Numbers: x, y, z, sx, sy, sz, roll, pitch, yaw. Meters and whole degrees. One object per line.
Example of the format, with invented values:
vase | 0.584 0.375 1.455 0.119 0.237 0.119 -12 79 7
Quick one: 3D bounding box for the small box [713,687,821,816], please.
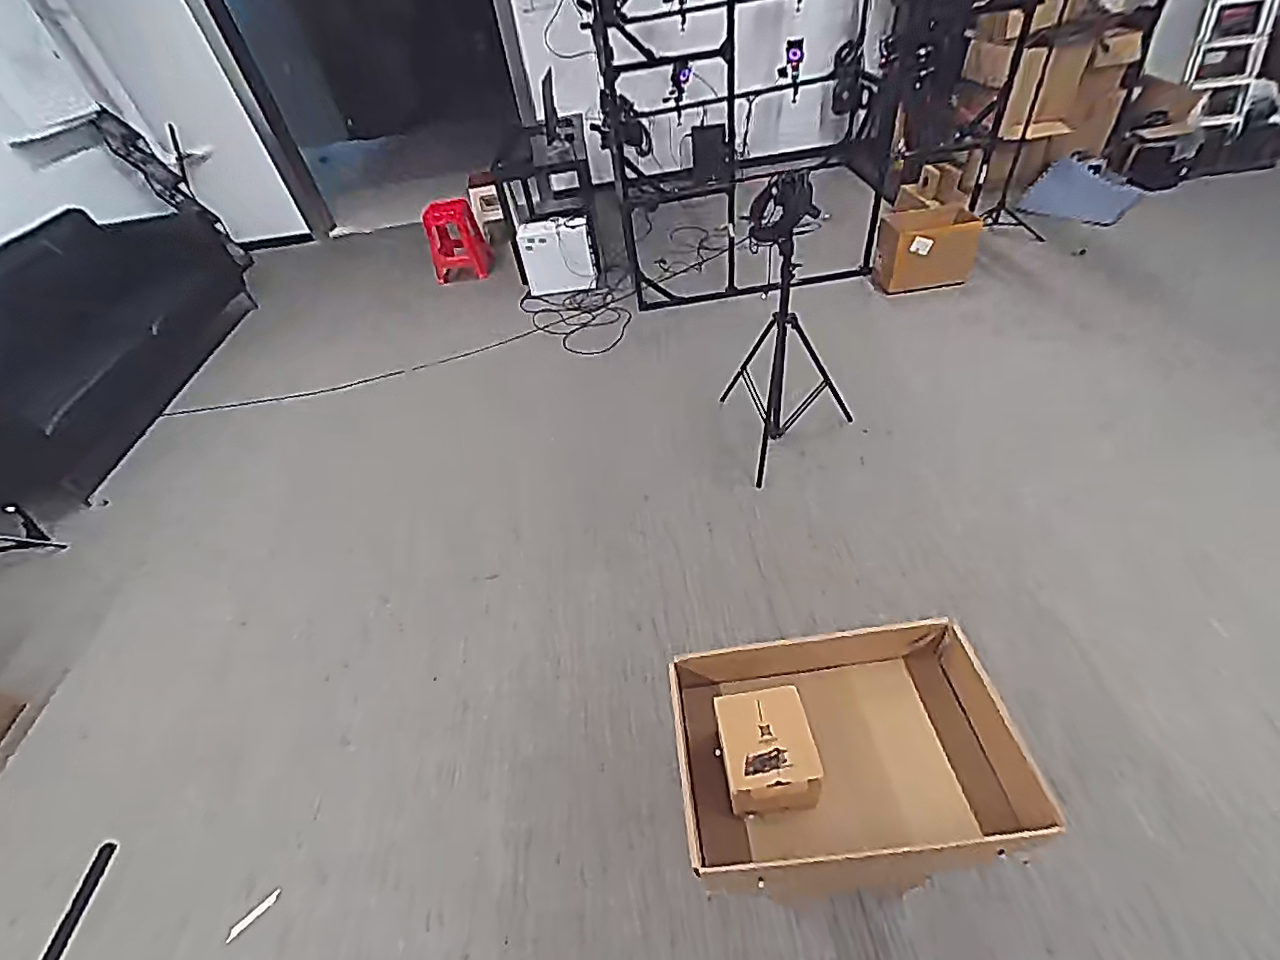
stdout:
small box | 0.243 0.537 1.059 0.168 0.176 0.179 -10 43 2
